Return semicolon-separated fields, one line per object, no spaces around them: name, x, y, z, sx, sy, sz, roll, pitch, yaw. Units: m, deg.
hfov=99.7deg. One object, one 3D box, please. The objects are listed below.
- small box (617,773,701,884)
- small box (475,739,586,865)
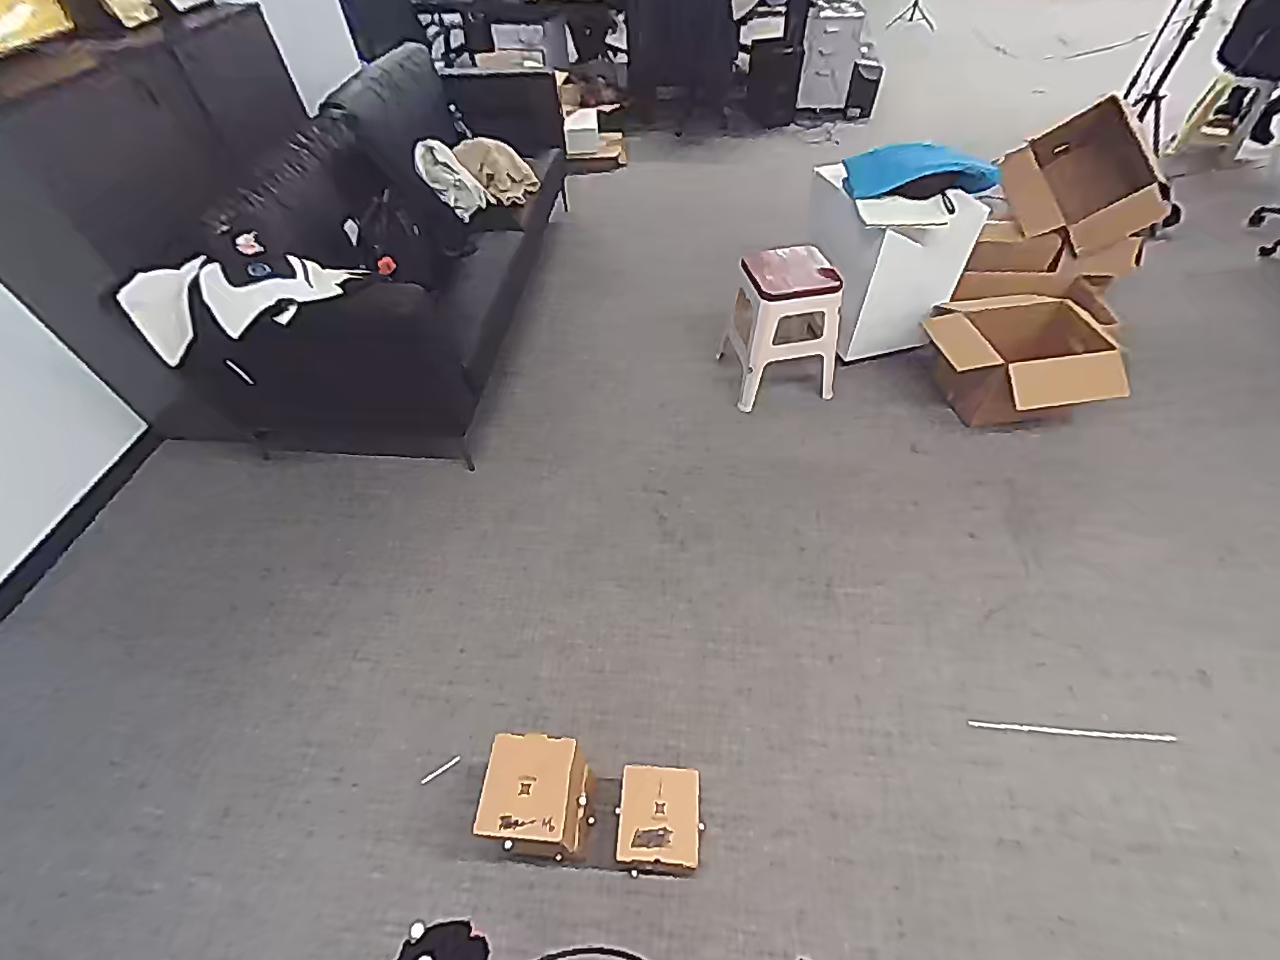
small box;0.046;0.760;1.174;0.168;0.176;0.179;2;48;4
small box;-0.205;0.641;1.076;0.168;0.176;0.179;3;48;5
